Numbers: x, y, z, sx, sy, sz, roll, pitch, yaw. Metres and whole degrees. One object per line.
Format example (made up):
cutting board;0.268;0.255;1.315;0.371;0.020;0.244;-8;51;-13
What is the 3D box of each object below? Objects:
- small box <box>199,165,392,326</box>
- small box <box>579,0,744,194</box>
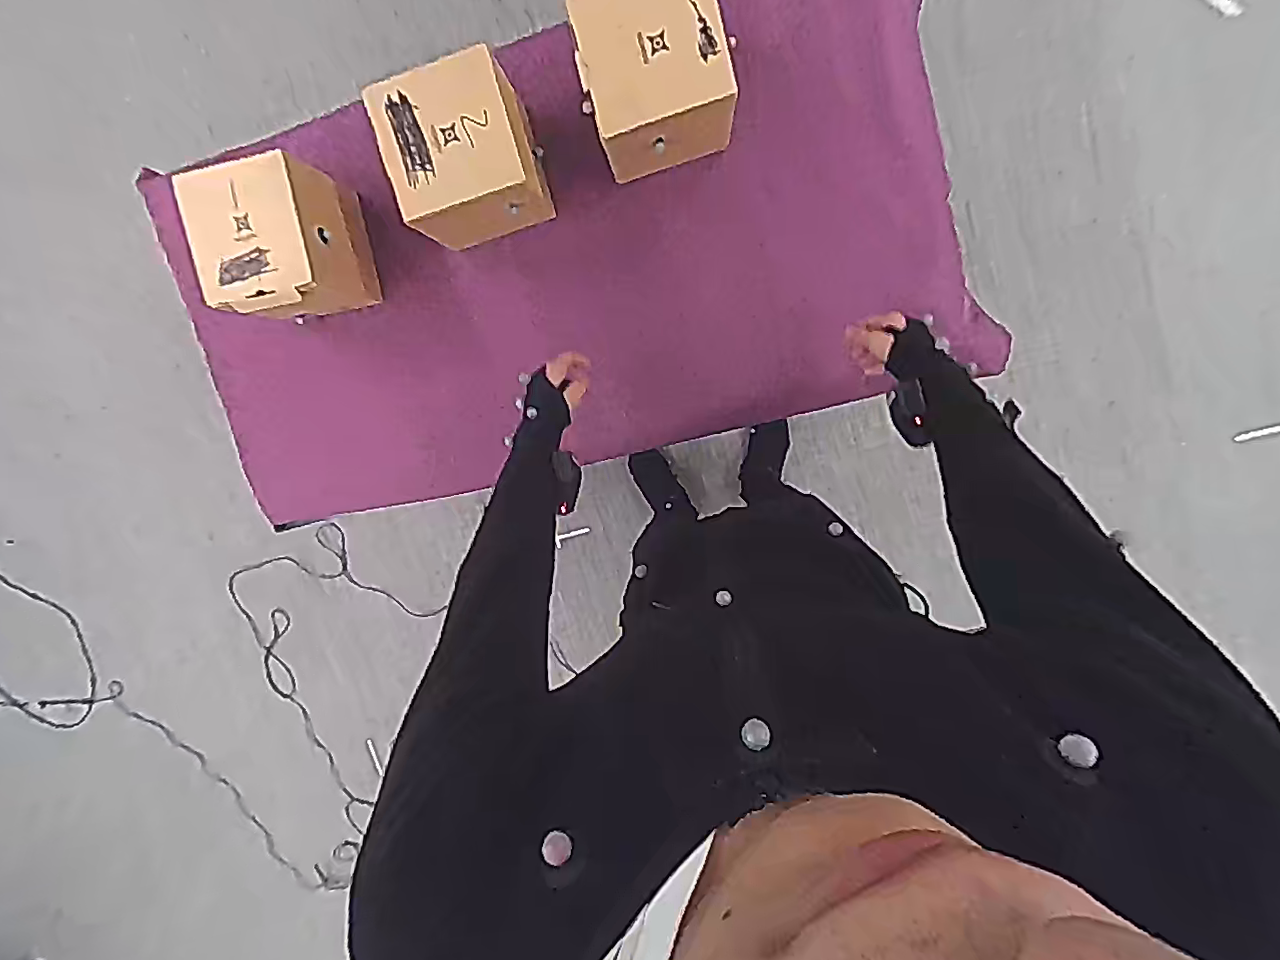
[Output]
small box;-0.508;-0.340;0.825;0.168;0.176;0.179;-9;97;6
small box;0.036;-0.524;0.744;0.179;0.176;0.168;-14;98;8
